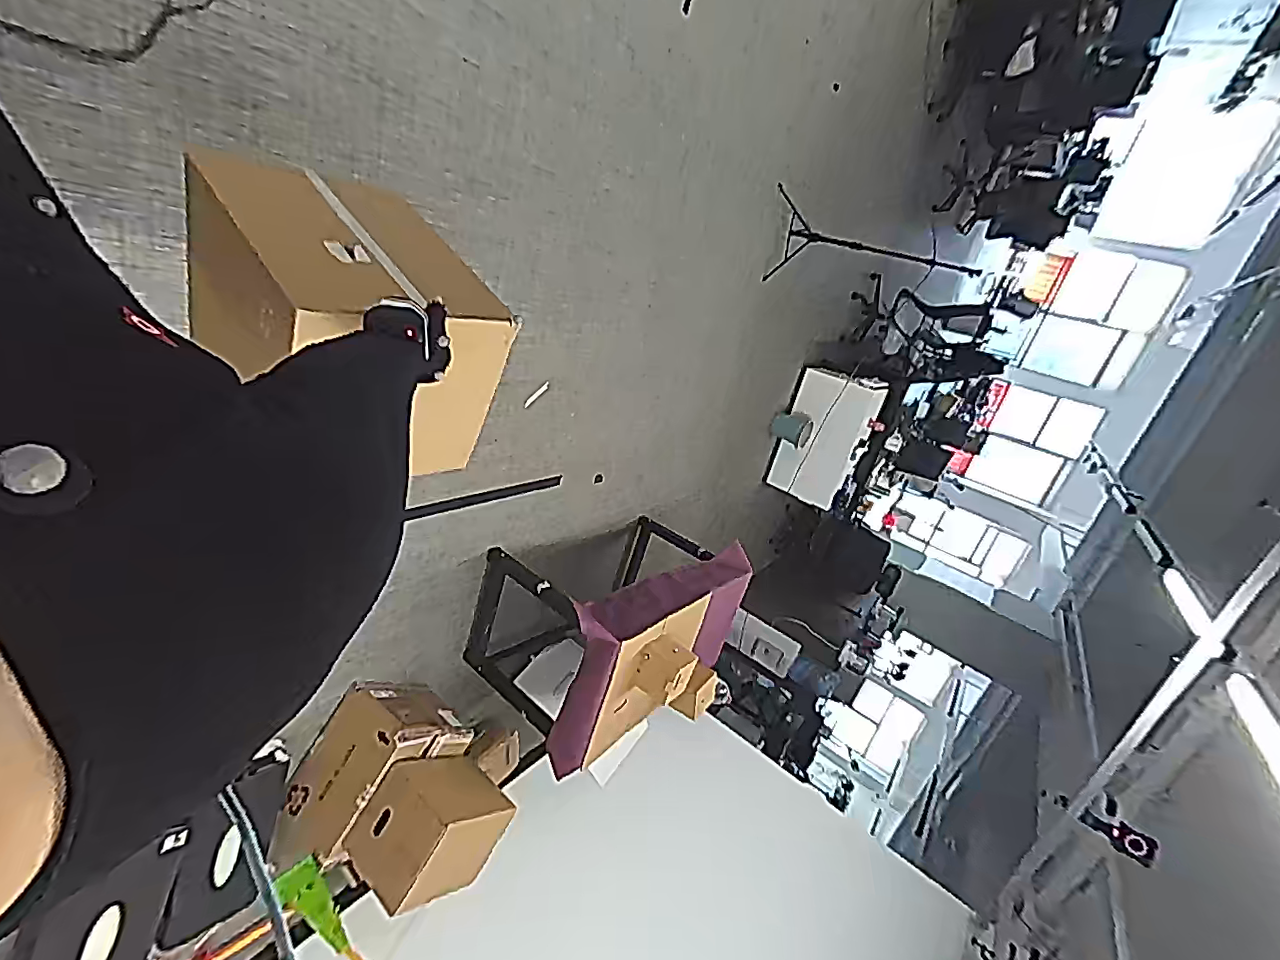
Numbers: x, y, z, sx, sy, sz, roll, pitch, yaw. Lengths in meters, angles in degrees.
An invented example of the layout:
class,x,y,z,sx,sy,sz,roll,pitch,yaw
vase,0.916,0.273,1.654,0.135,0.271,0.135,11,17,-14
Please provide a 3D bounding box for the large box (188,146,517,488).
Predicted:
class,x,y,z,sx,sy,sz,roll,pitch,yaw
large box,-0.481,-0.252,0.884,0.320,0.408,0.320,-16,149,-49
